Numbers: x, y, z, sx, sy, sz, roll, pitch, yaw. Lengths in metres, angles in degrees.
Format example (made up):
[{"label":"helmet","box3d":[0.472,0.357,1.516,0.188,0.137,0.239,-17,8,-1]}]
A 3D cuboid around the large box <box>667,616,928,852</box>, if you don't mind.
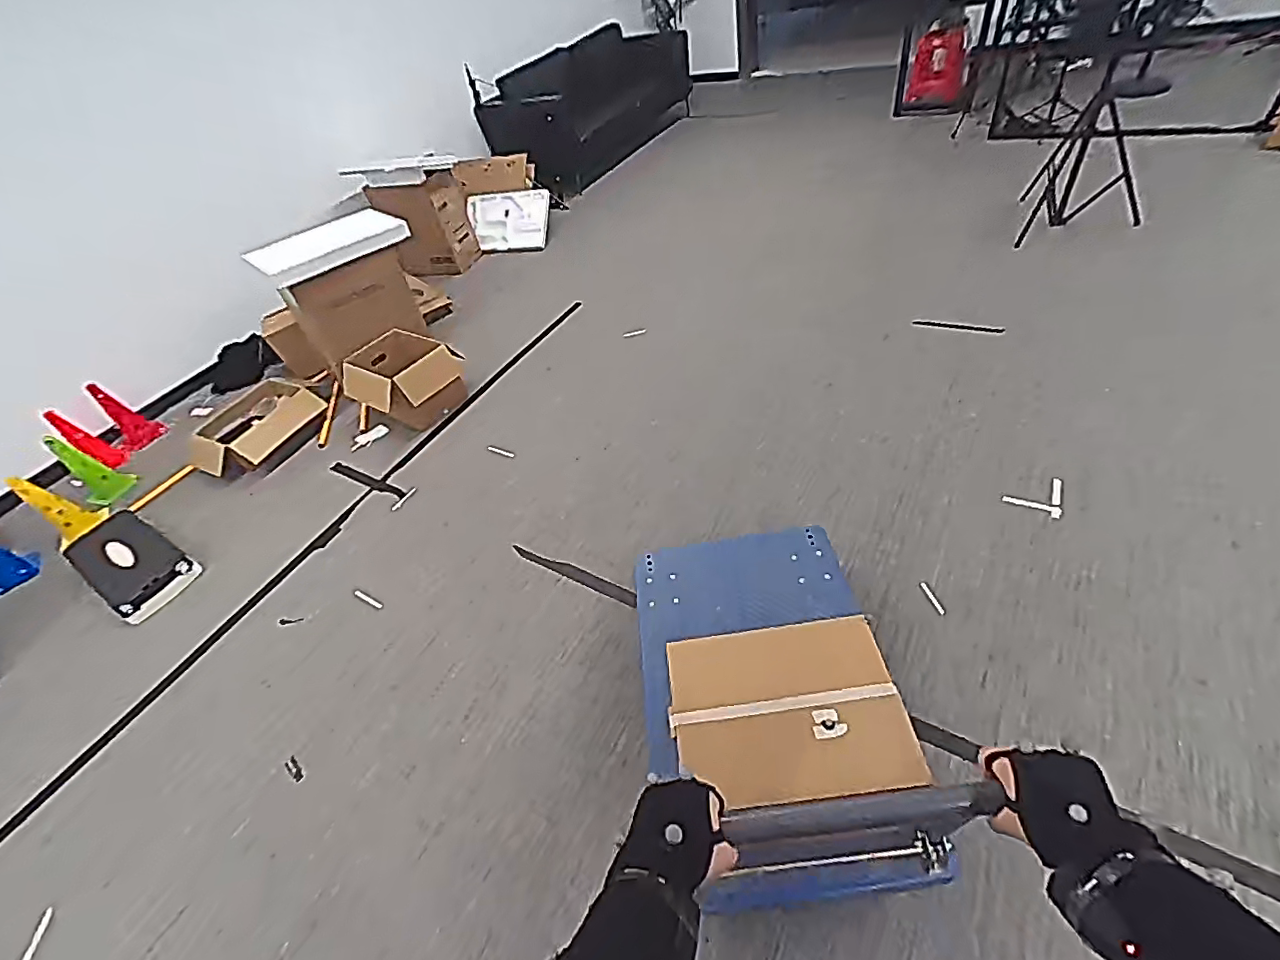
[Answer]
[{"label":"large box","box3d":[0.284,0.518,1.095,0.408,0.320,0.320,-9,45,3]}]
